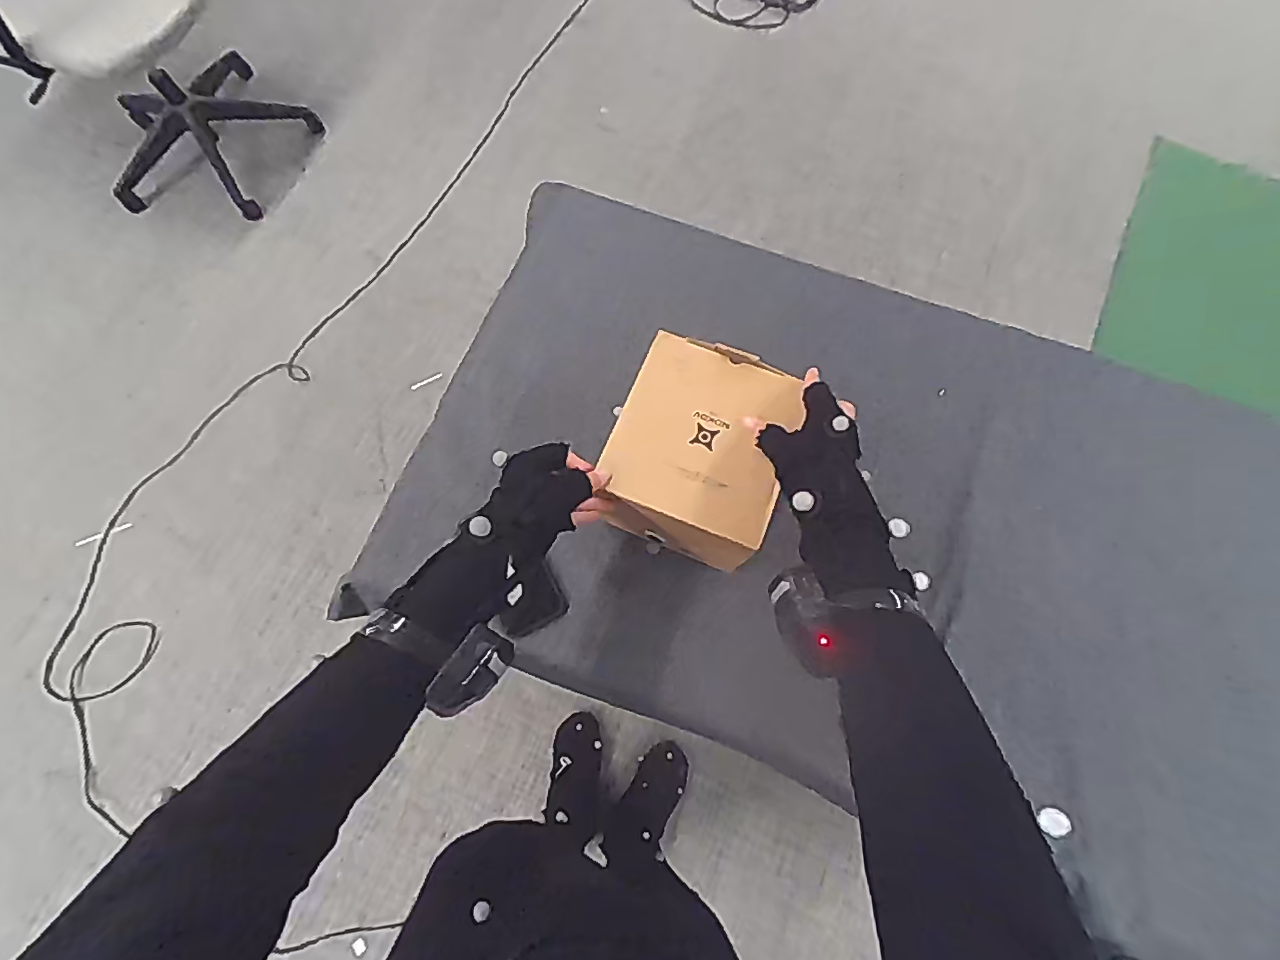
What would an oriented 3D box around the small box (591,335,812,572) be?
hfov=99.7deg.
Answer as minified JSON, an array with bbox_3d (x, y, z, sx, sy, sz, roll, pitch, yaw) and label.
[{"bbox_3d":[0.061,-0.017,0.582,0.168,0.176,0.179,21,75,8],"label":"small box"}]
